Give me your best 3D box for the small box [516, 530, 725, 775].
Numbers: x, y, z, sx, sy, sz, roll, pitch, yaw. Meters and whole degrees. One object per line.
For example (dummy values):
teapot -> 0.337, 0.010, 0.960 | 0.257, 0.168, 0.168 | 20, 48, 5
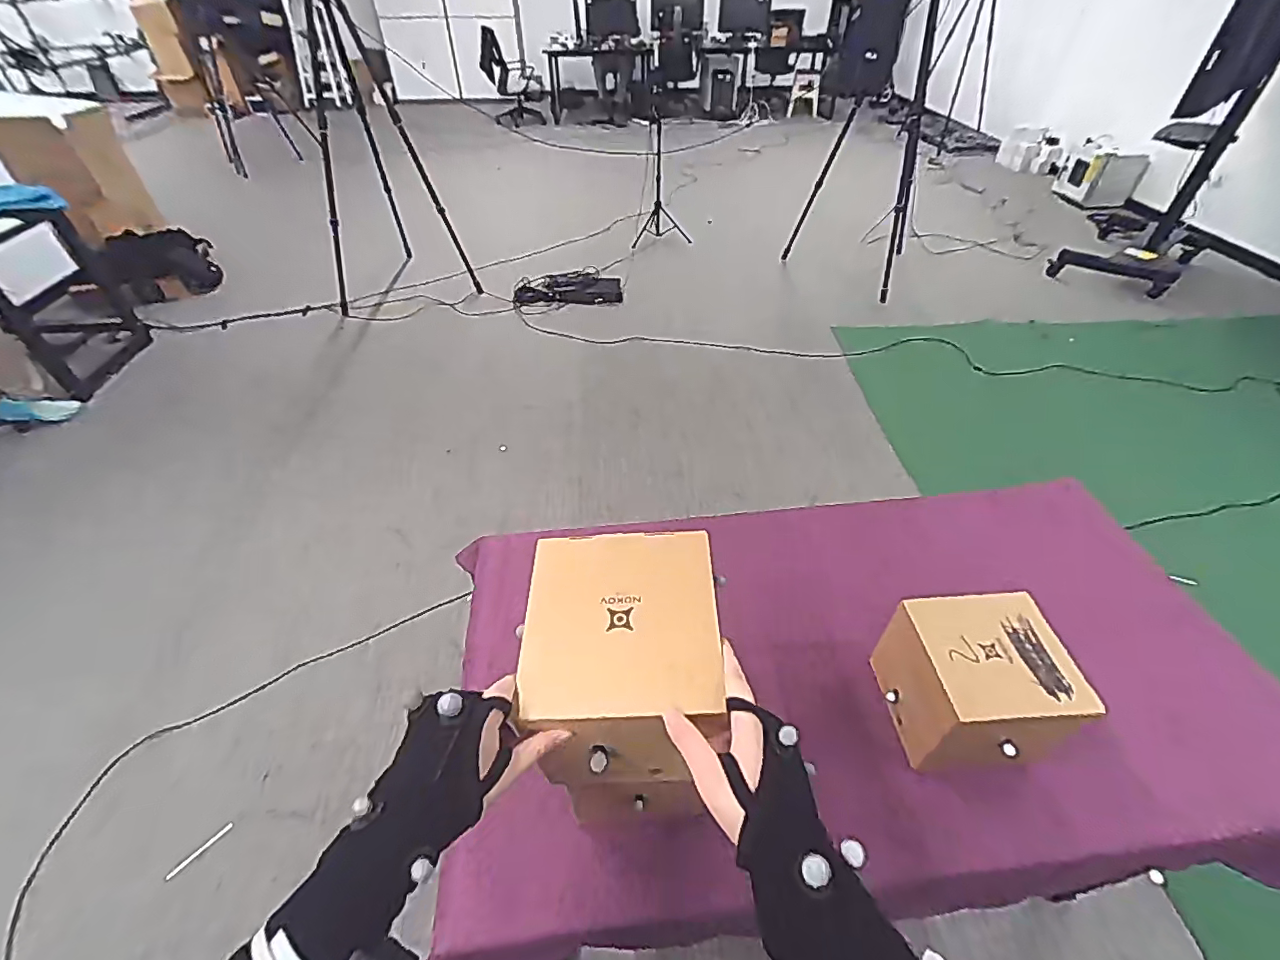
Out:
small box -> -0.009, 0.171, 0.522 | 0.168, 0.176, 0.179 | -3, 45, 2

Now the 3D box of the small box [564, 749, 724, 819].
small box -> 0.000, 0.314, 0.692 | 0.179, 0.176, 0.168 | -4, 44, -3
